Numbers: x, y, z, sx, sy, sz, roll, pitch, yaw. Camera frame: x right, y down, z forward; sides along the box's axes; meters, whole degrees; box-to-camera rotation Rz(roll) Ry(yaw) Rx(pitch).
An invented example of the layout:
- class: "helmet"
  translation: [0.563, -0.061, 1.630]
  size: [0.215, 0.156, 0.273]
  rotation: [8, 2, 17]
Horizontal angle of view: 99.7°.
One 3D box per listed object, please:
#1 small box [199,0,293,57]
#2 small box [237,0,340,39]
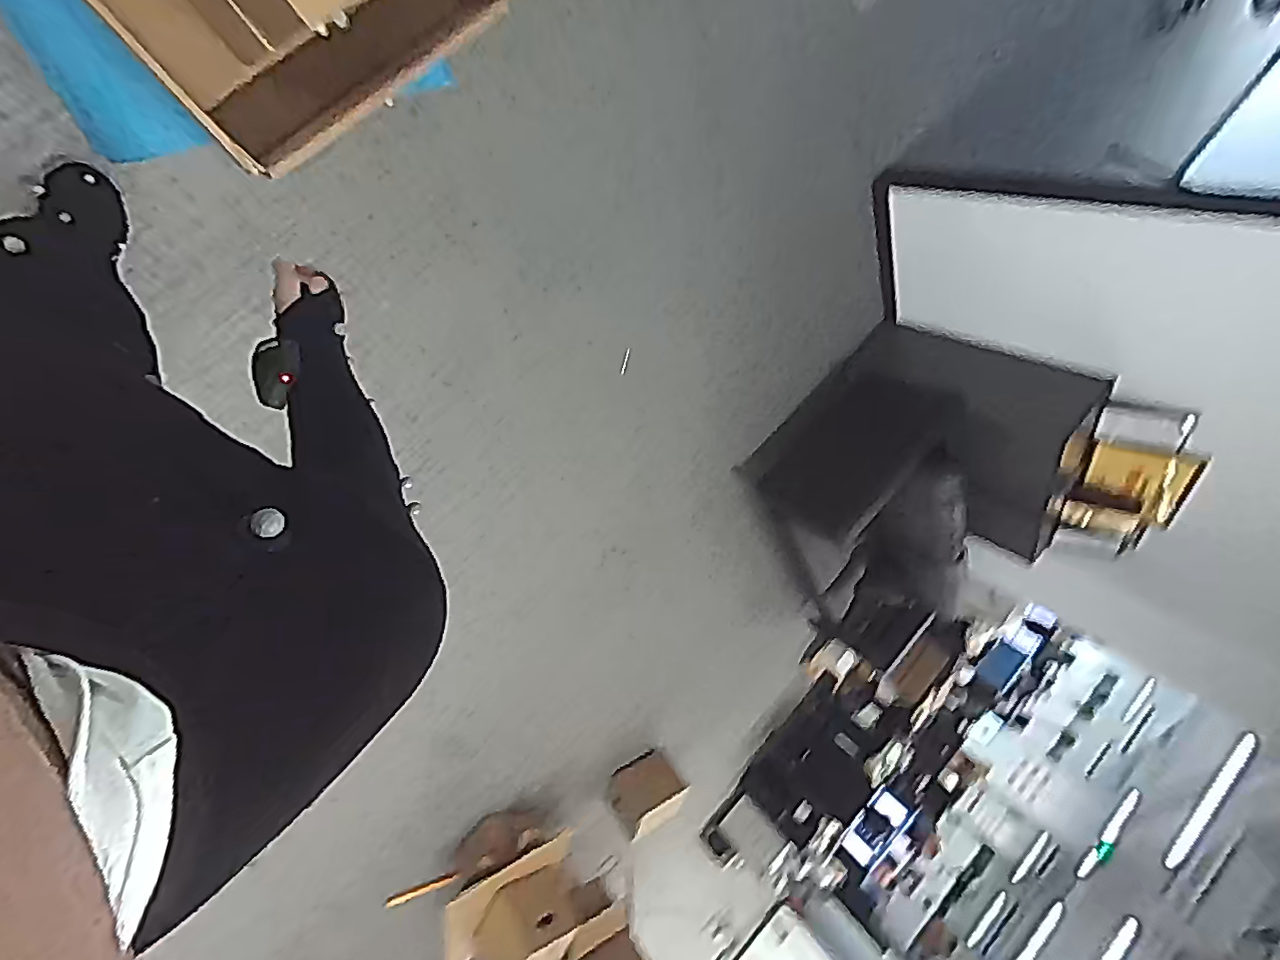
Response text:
- class: "small box"
  translation: [-0.403, -0.576, 0.549]
  size: [0.168, 0.176, 0.179]
  rotation: [-48, 137, -9]
- class: "small box"
  translation: [-0.302, -0.507, 0.439]
  size: [0.168, 0.176, 0.179]
  rotation: [-48, 138, -7]
